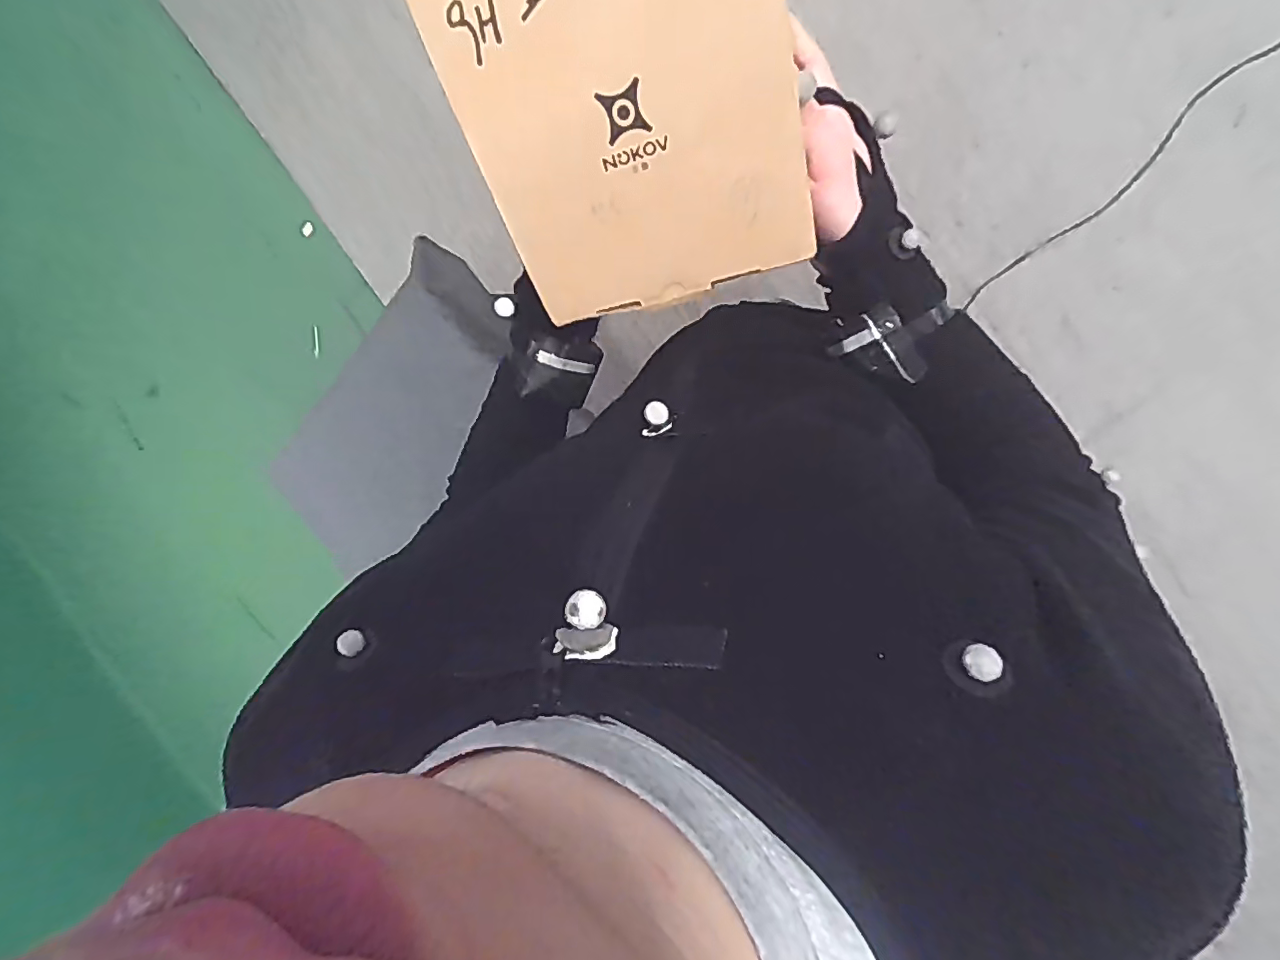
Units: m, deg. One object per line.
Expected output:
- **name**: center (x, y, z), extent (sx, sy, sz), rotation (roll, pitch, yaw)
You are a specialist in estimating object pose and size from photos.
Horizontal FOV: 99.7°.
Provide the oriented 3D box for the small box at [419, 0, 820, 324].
- **small box**: center (0.011, -0.227, 0.331), extent (0.168, 0.176, 0.179), rotation (-9, 130, 18)
